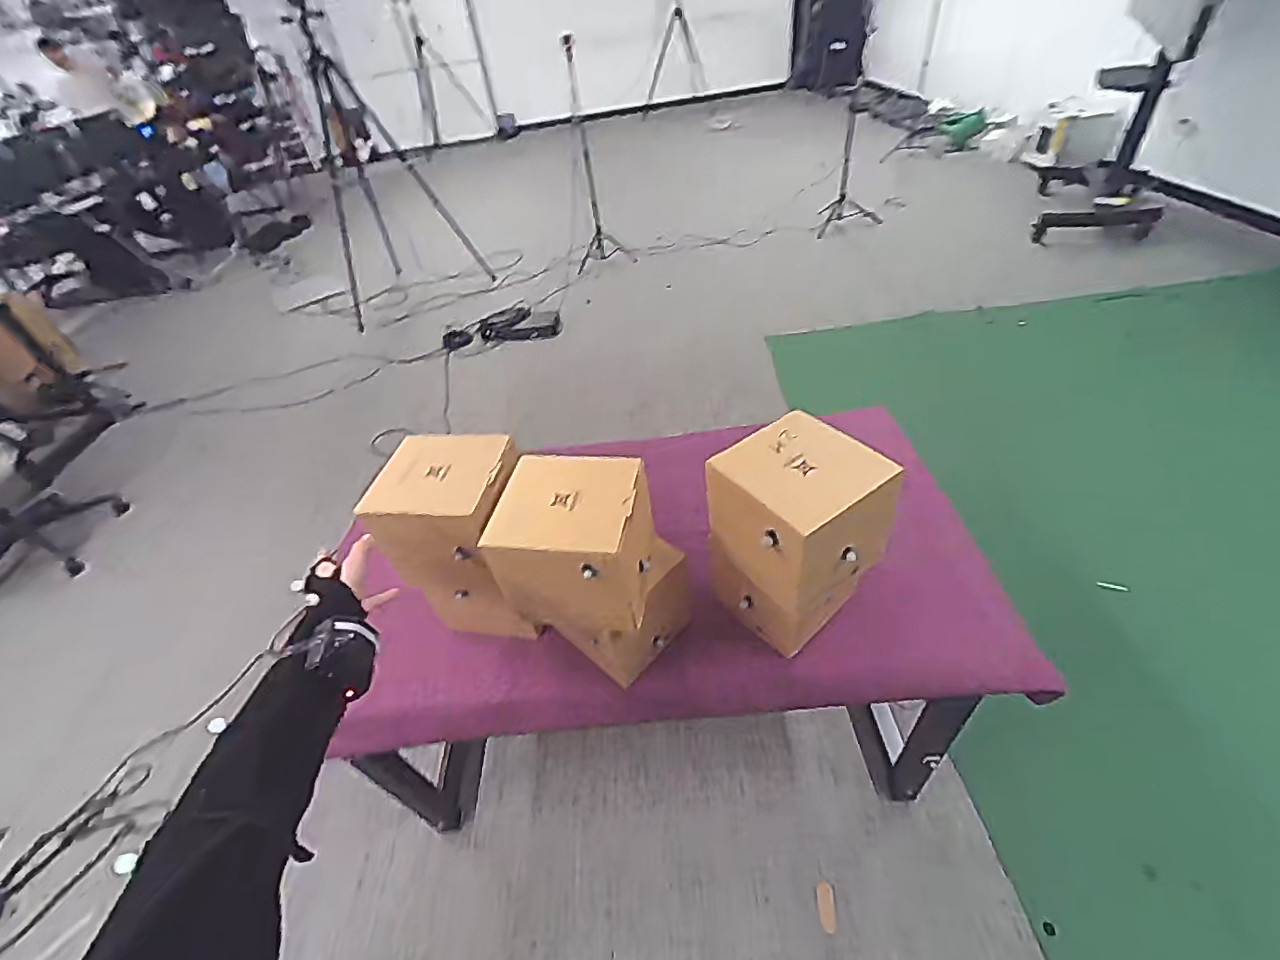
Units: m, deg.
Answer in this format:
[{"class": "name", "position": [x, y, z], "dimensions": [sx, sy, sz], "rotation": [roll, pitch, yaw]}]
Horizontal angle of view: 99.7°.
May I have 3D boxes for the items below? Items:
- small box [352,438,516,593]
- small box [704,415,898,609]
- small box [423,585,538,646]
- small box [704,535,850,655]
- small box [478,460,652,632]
[{"class": "small box", "position": [-0.275, 0.054, 0.807], "dimensions": [0.179, 0.176, 0.168], "rotation": [0, 43, 10]}, {"class": "small box", "position": [0.207, 0.047, 0.725], "dimensions": [0.168, 0.176, 0.179], "rotation": [-29, 44, -20]}, {"class": "small box", "position": [-0.257, 0.163, 0.932], "dimensions": [0.179, 0.176, 0.168], "rotation": [9, 44, 11]}, {"class": "small box", "position": [0.225, 0.142, 0.865], "dimensions": [0.179, 0.176, 0.168], "rotation": [-35, 48, -25]}, {"class": "small box", "position": [-0.087, 0.089, 0.735], "dimensions": [0.179, 0.176, 0.168], "rotation": [2, 43, 11]}]
